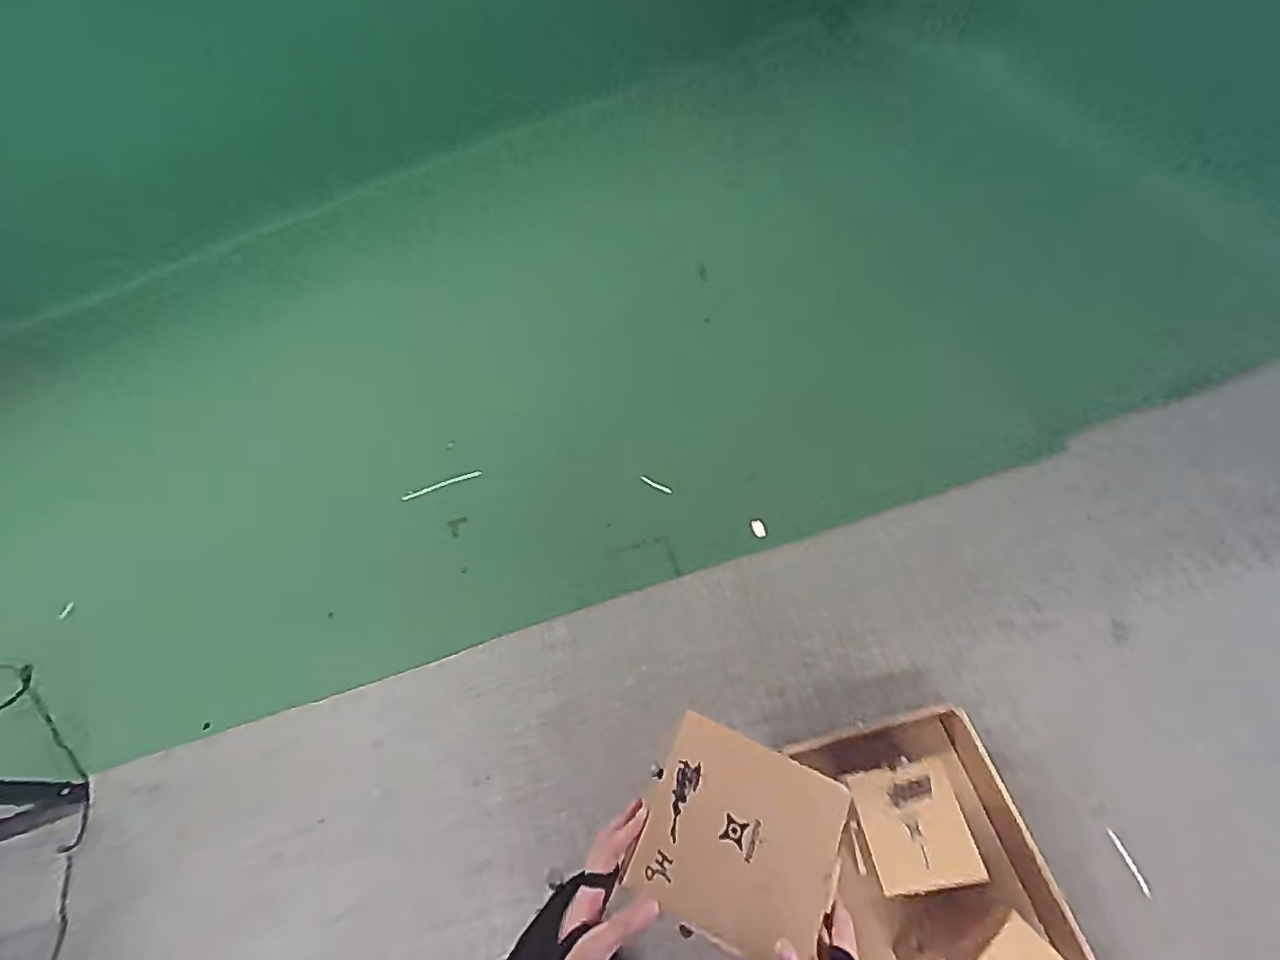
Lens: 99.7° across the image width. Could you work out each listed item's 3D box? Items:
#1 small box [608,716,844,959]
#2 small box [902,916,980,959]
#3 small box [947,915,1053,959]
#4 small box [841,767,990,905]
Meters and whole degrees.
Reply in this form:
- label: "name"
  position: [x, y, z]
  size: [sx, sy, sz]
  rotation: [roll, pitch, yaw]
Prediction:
- label: "small box"
  position: [0.079, 0.371, 0.560]
  size: [0.179, 0.176, 0.168]
  rotation: [23, 59, 8]
- label: "small box"
  position: [0.582, 0.910, 0.948]
  size: [0.179, 0.176, 0.168]
  rotation: [-31, 55, -5]
- label: "small box"
  position: [0.572, 0.809, 0.816]
  size: [0.179, 0.176, 0.168]
  rotation: [-40, 57, -11]
- label: "small box"
  position: [0.471, 0.625, 0.960]
  size: [0.168, 0.176, 0.179]
  rotation: [-14, 58, 6]
